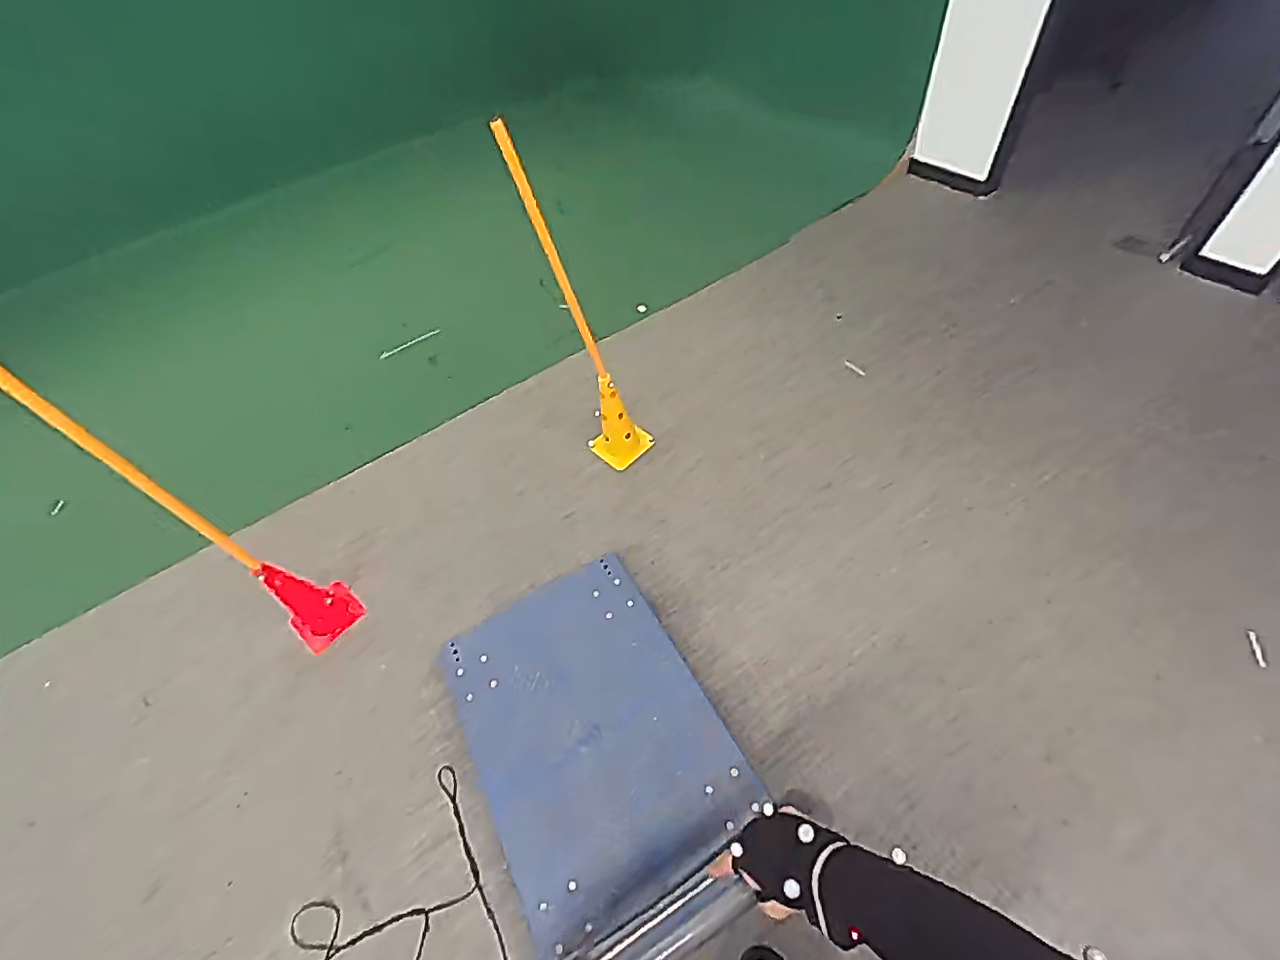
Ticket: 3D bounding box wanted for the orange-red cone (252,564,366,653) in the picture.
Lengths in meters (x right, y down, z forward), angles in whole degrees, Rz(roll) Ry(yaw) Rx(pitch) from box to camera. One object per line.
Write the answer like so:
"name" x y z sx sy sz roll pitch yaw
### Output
"orange-red cone" -1.071 0.363 1.690 0.198 0.360 0.199 32 66 30
